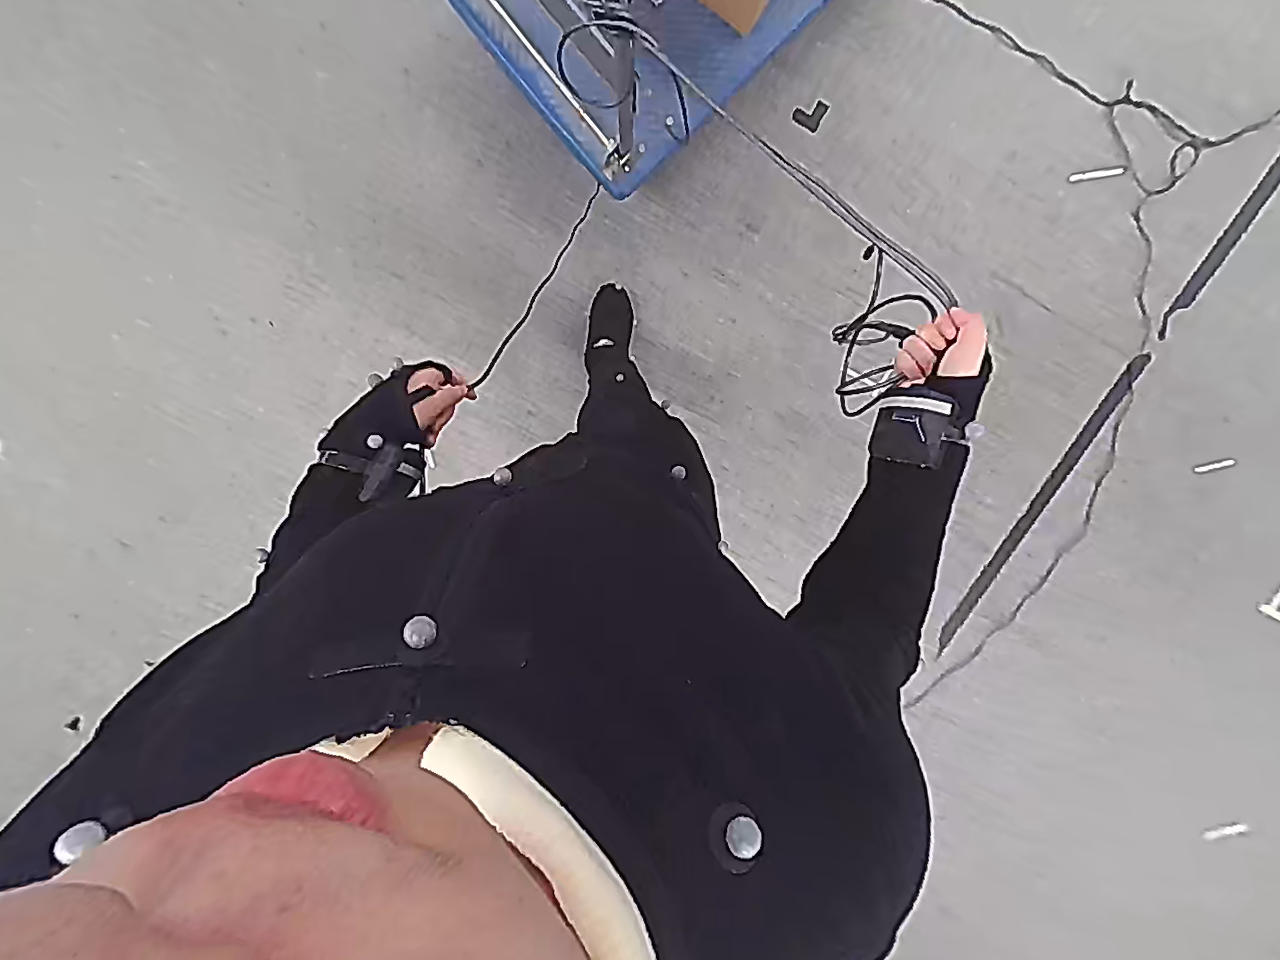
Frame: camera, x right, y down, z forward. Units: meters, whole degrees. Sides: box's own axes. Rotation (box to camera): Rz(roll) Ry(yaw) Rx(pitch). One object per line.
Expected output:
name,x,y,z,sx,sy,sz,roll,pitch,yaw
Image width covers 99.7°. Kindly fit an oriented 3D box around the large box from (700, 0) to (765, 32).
large box,0.139,-1.111,0.917,0.408,0.320,0.320,32,100,-10
